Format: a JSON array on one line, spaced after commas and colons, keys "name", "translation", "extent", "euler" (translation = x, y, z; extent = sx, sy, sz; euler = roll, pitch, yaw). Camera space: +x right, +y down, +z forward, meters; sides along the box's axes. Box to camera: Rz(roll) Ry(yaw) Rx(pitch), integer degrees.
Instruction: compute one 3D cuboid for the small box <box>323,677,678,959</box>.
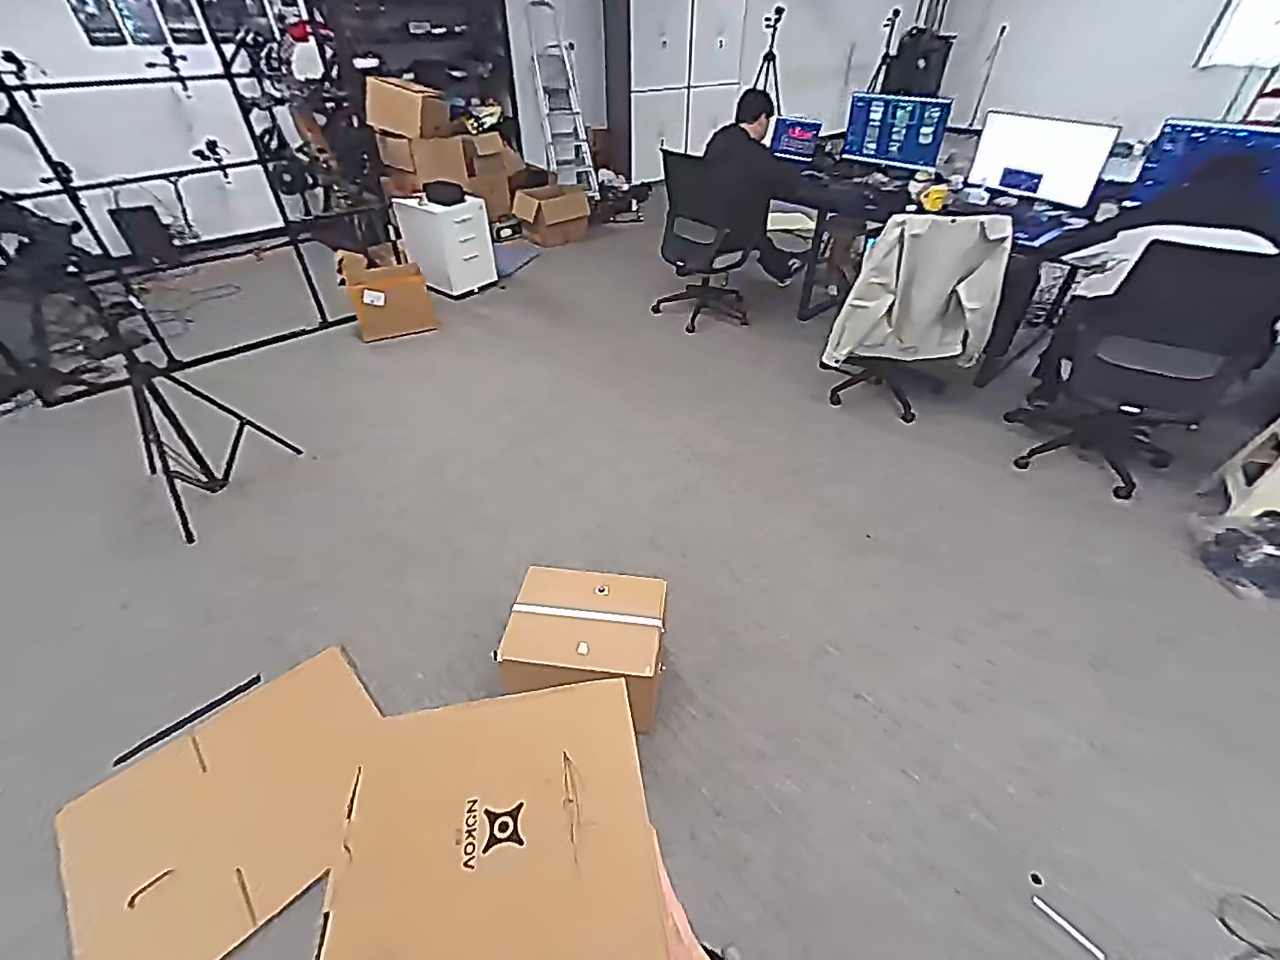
[{"name": "small box", "translation": [-0.078, 0.262, 0.358], "extent": [0.179, 0.176, 0.168], "euler": [-7, 39, -8]}]
